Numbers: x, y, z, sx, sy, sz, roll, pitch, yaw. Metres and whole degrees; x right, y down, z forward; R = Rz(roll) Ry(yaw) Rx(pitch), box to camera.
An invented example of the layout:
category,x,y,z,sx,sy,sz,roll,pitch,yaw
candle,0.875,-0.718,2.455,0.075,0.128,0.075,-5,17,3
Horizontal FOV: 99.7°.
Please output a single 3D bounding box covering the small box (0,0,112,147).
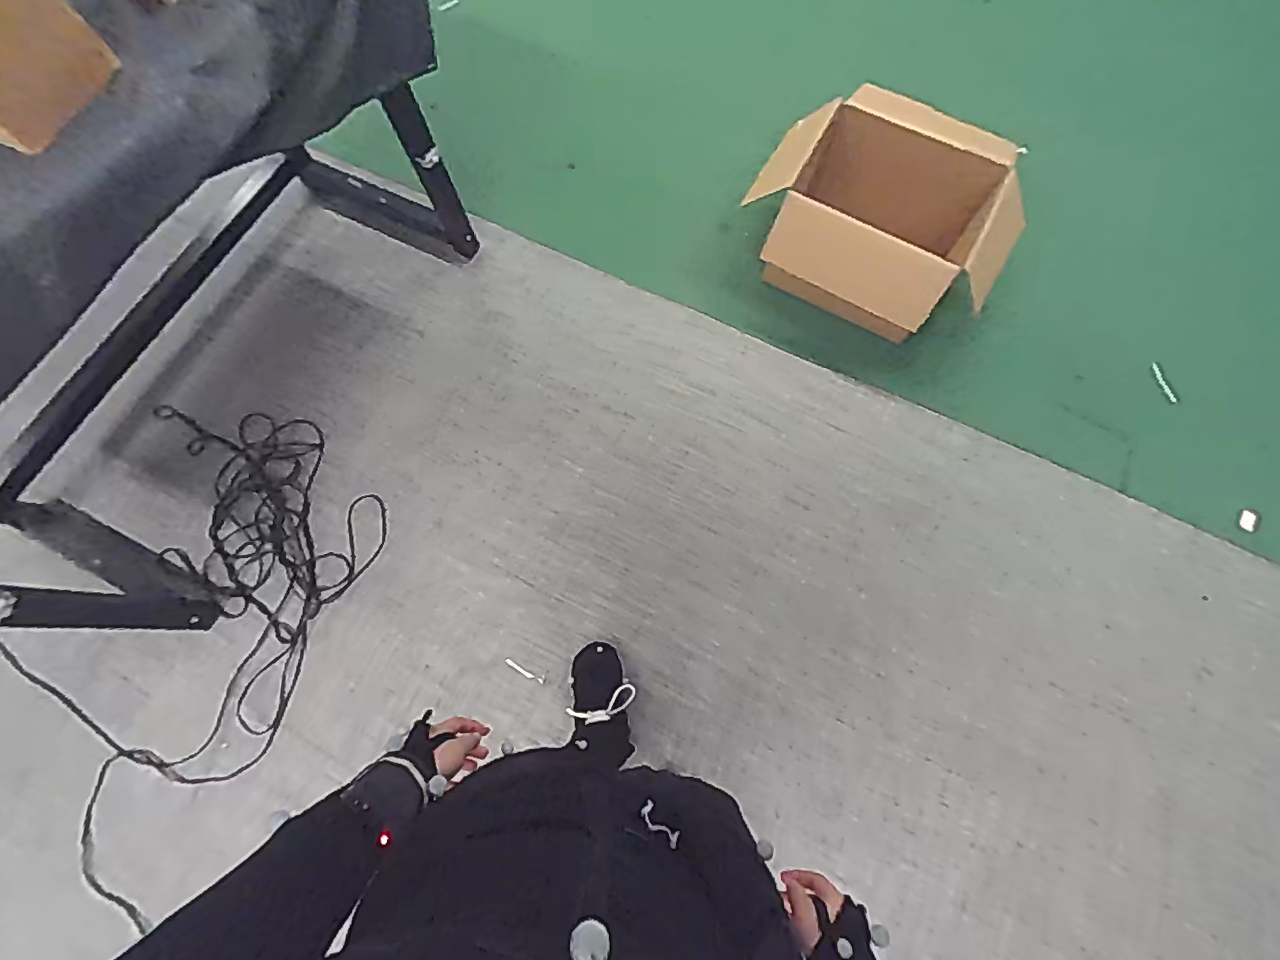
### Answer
category,x,y,z,sx,sy,sz,roll,pitch,yaw
small box,-0.806,-0.551,0.646,0.168,0.176,0.179,23,76,7
